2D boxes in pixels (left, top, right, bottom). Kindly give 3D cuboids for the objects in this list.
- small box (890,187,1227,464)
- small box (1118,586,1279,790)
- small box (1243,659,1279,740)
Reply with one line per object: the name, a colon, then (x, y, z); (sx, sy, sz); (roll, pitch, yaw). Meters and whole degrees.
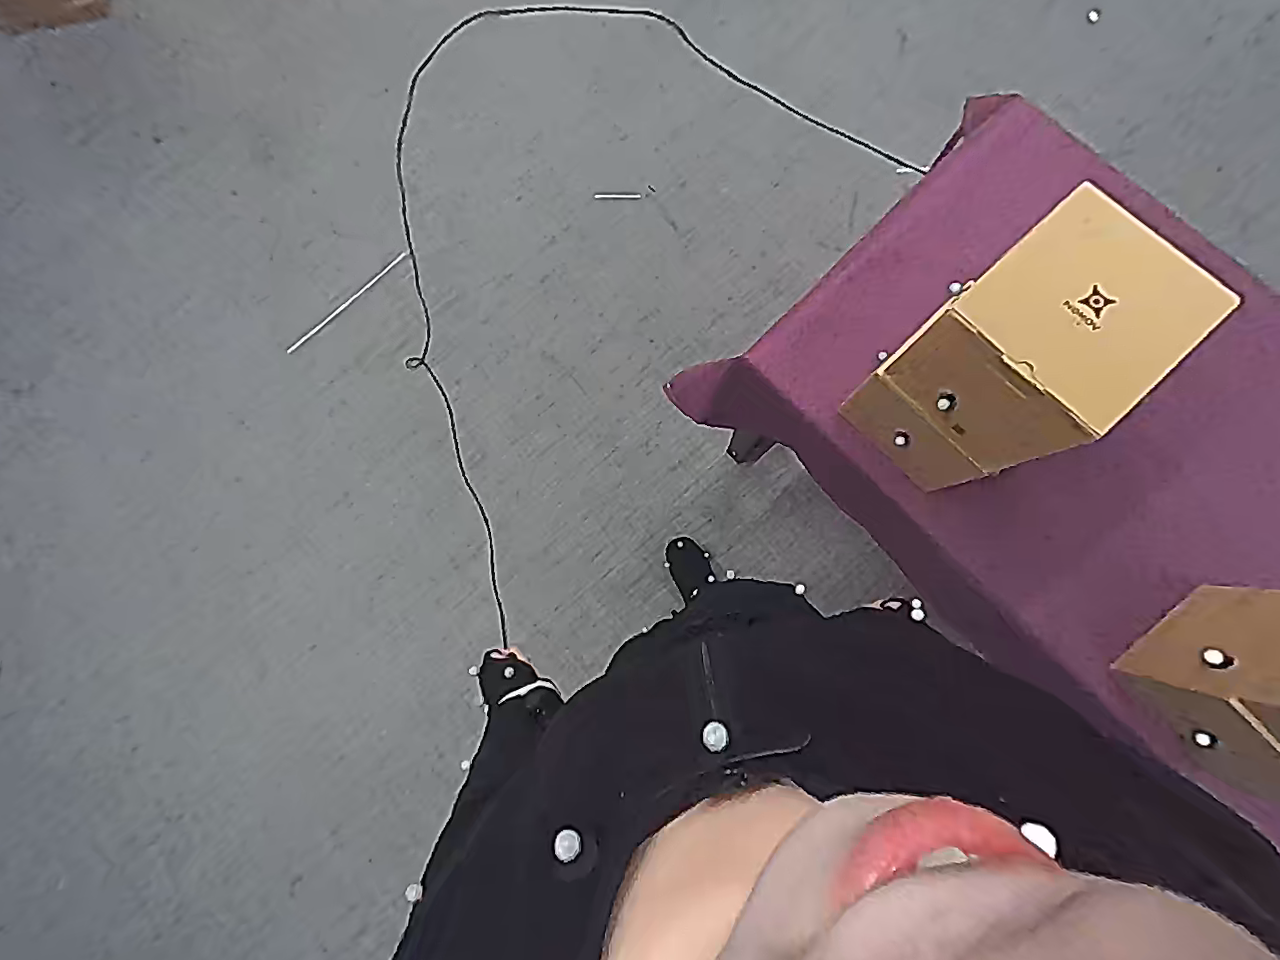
small box: (0.396, -0.140, 0.552); (0.179, 0.176, 0.168); (-43, 81, -2)
small box: (0.731, 0.243, 0.638); (0.179, 0.176, 0.168); (-40, 81, -2)
small box: (0.726, 0.225, 0.474); (0.168, 0.176, 0.179); (-40, 82, -1)
